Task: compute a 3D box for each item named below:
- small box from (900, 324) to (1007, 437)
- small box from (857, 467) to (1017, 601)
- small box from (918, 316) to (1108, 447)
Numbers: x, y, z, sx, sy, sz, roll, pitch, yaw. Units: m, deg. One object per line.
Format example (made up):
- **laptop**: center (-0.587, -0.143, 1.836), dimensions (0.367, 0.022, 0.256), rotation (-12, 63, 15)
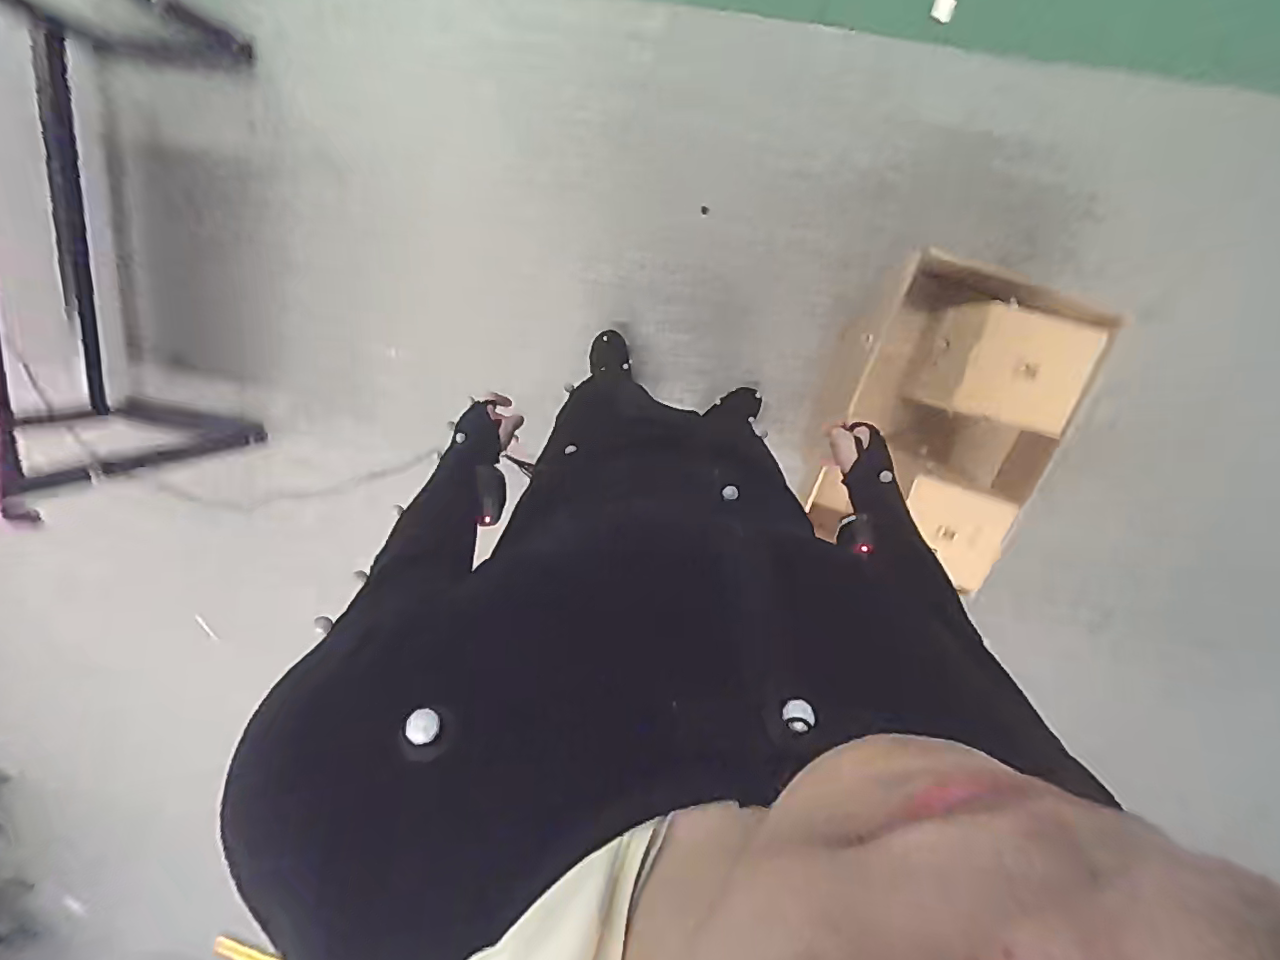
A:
- **small box**: center (0.642, -0.204, 1.066), dimensions (0.168, 0.176, 0.179), rotation (18, 107, 4)
- **small box**: center (0.523, 0.088, 0.987), dimensions (0.179, 0.176, 0.168), rotation (20, 107, 3)
- **small box**: center (0.607, -0.171, 0.910), dimensions (0.179, 0.176, 0.168), rotation (18, 107, 5)
